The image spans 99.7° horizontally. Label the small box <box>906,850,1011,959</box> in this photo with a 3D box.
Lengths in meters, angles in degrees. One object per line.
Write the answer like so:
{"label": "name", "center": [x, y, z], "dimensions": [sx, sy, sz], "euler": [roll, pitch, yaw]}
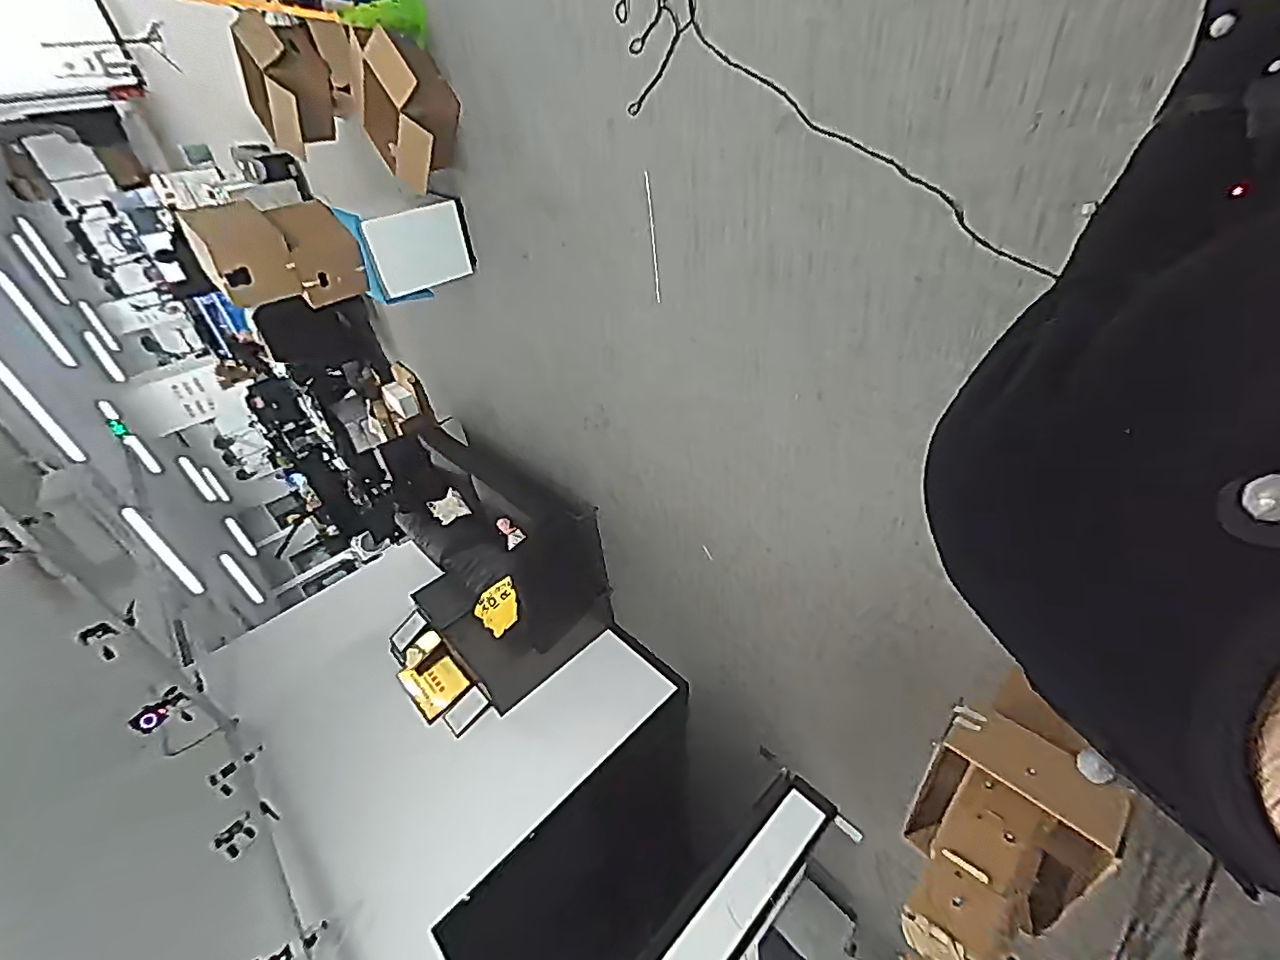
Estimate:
{"label": "small box", "center": [0.755, 1.036, 1.283], "dimensions": [0.168, 0.176, 0.179], "euler": [19, 132, 48]}

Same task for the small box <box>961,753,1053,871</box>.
{"label": "small box", "center": [0.988, 0.883, 1.457], "dimensions": [0.168, 0.176, 0.179], "euler": [16, 131, 49]}

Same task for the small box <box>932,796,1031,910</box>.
{"label": "small box", "center": [0.867, 0.957, 1.374], "dimensions": [0.168, 0.176, 0.179], "euler": [16, 132, 50]}

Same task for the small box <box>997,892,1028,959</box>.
{"label": "small box", "center": [0.932, 1.191, 1.494], "dimensions": [0.179, 0.176, 0.168], "euler": [23, 135, 42]}
